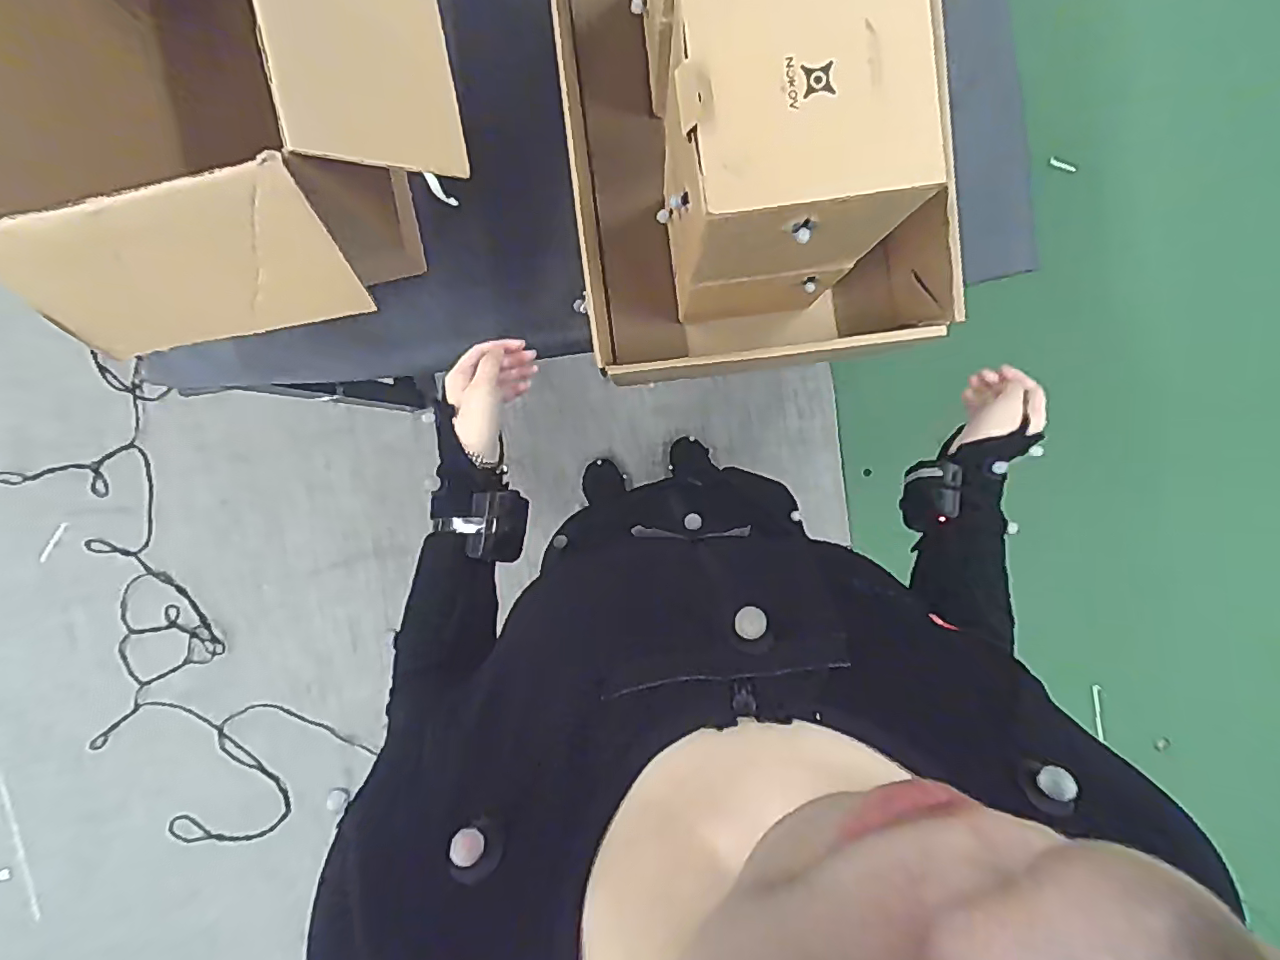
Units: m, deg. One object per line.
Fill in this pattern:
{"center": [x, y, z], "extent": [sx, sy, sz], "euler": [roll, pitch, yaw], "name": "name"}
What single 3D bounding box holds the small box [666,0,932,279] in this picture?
{"center": [0.118, -0.287, 0.470], "extent": [0.179, 0.176, 0.168], "euler": [-8, 95, -1], "name": "small box"}
